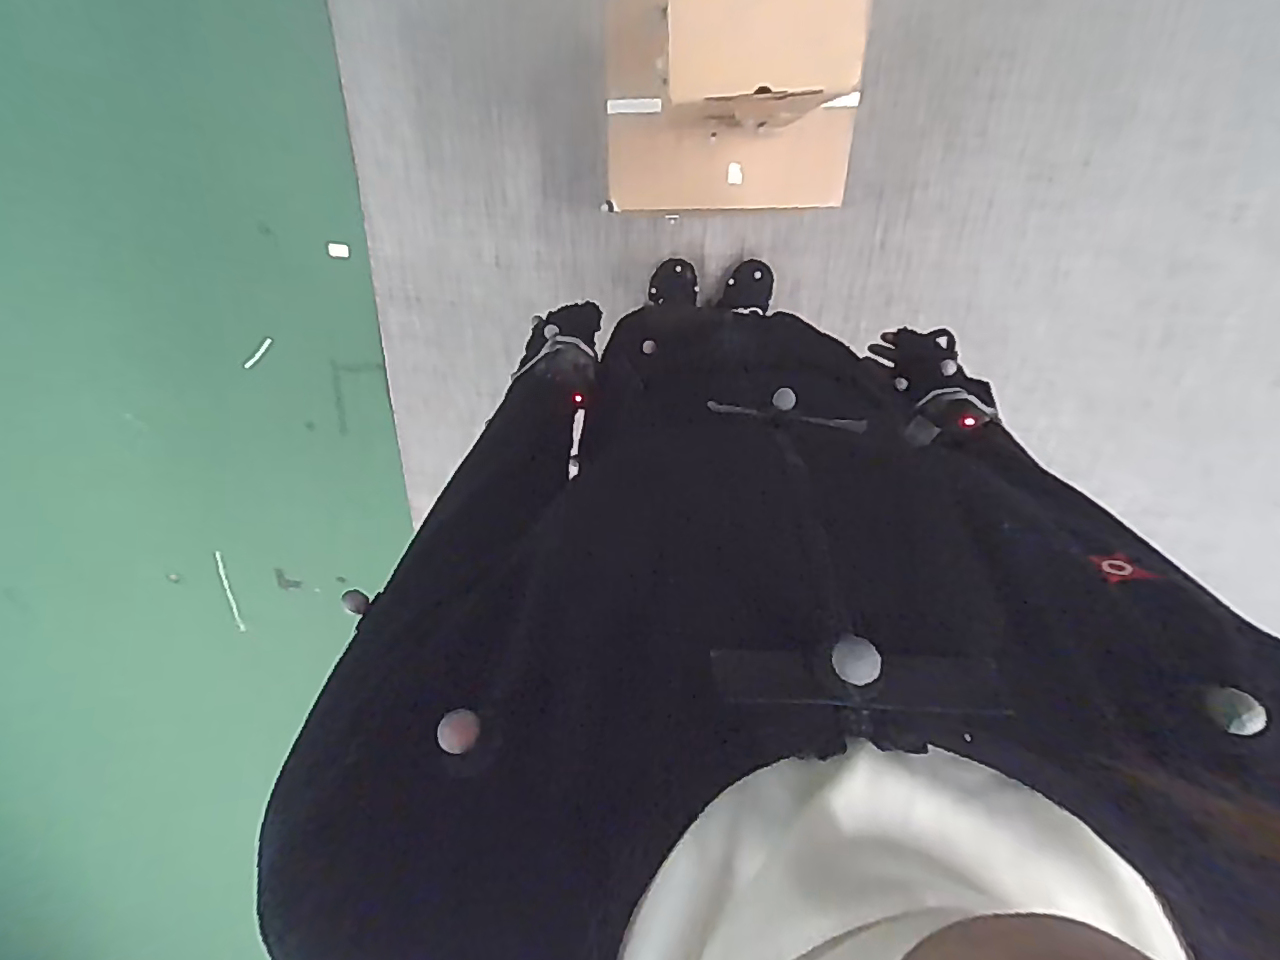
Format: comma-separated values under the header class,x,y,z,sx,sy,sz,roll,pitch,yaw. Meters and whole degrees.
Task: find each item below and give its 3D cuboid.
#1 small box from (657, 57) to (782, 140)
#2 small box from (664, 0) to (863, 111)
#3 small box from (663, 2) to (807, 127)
class,x,y,z,sx,sy,sz,roll,pitch,yaw
small box,0.123,-0.606,0.789,0.179,0.176,0.168,7,118,0
small box,0.106,-0.454,0.504,0.168,0.176,0.179,-1,120,4
small box,0.112,-0.532,0.649,0.168,0.176,0.179,0,118,3
